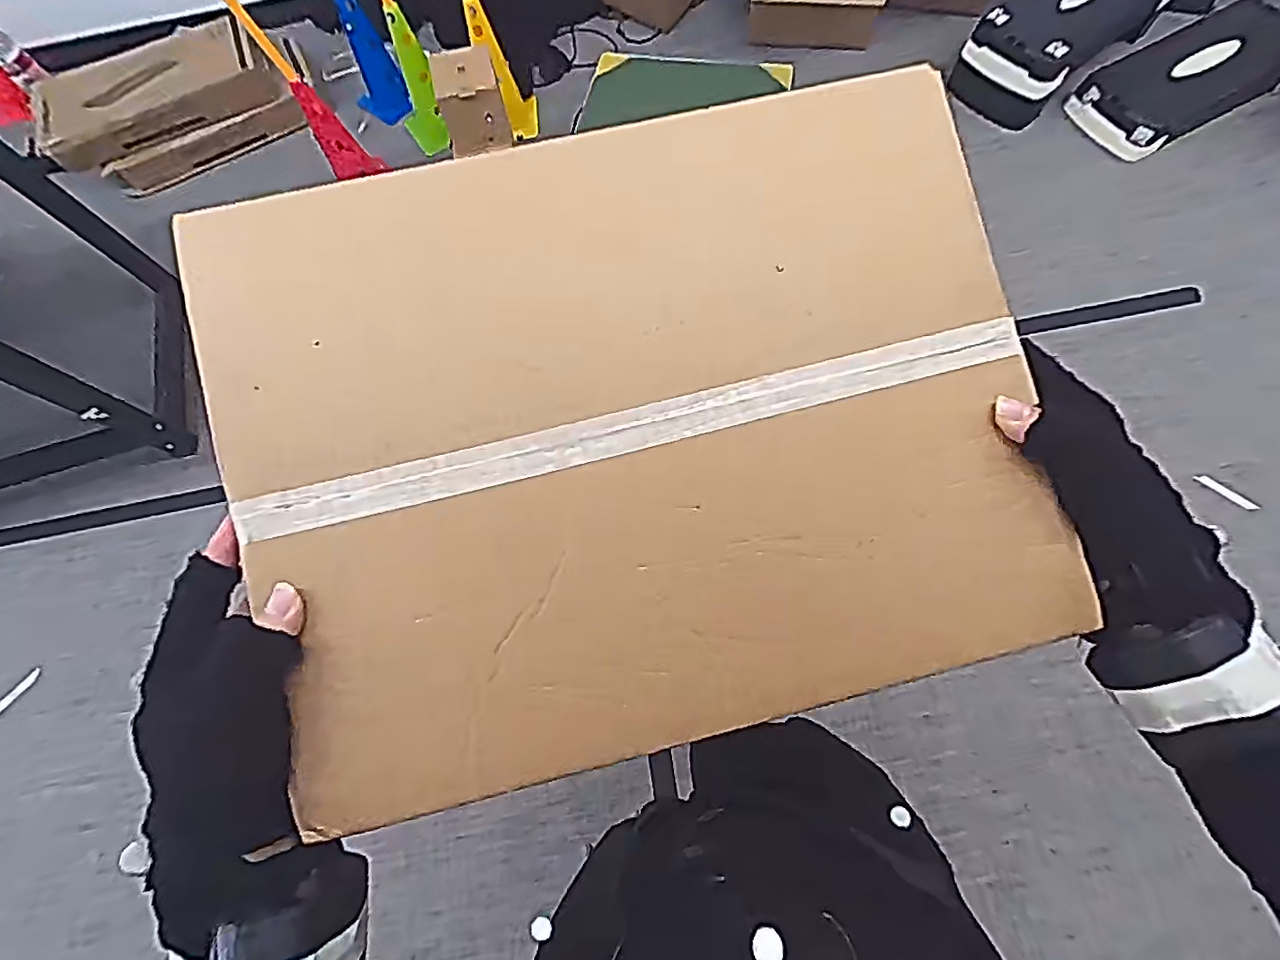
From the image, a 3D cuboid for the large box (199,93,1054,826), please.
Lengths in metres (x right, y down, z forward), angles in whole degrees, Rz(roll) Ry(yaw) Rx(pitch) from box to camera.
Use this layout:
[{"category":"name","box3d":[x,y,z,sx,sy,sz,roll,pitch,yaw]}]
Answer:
[{"category":"large box","box3d":[-0.008,-0.016,0.433,0.408,0.320,0.320,-14,86,-4]}]
